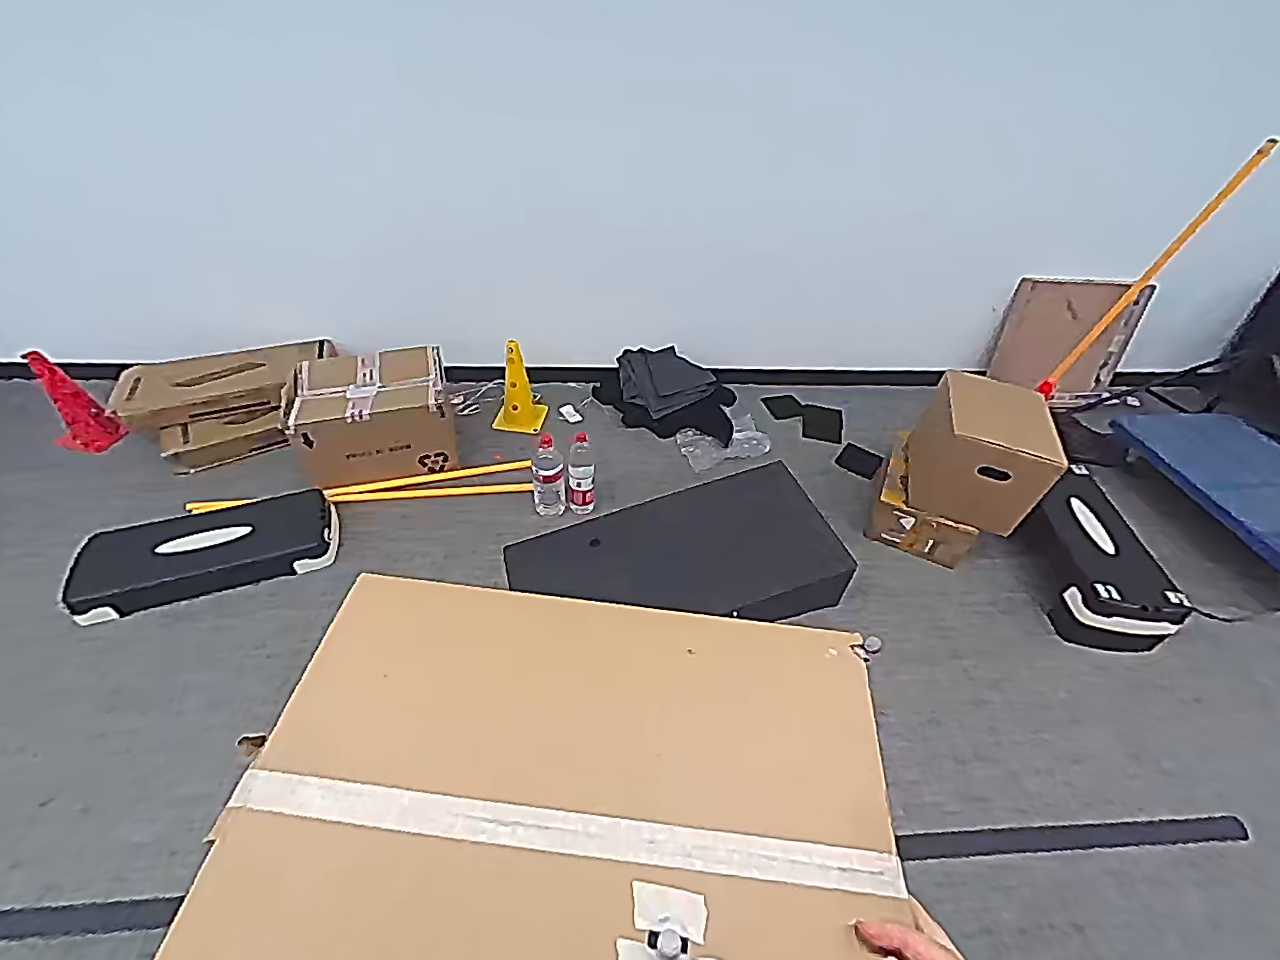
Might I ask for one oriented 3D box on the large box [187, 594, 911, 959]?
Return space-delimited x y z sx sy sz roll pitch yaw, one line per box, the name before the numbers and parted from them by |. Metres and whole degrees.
large box | -0.048 0.323 0.446 0.408 0.320 0.320 7 49 2
